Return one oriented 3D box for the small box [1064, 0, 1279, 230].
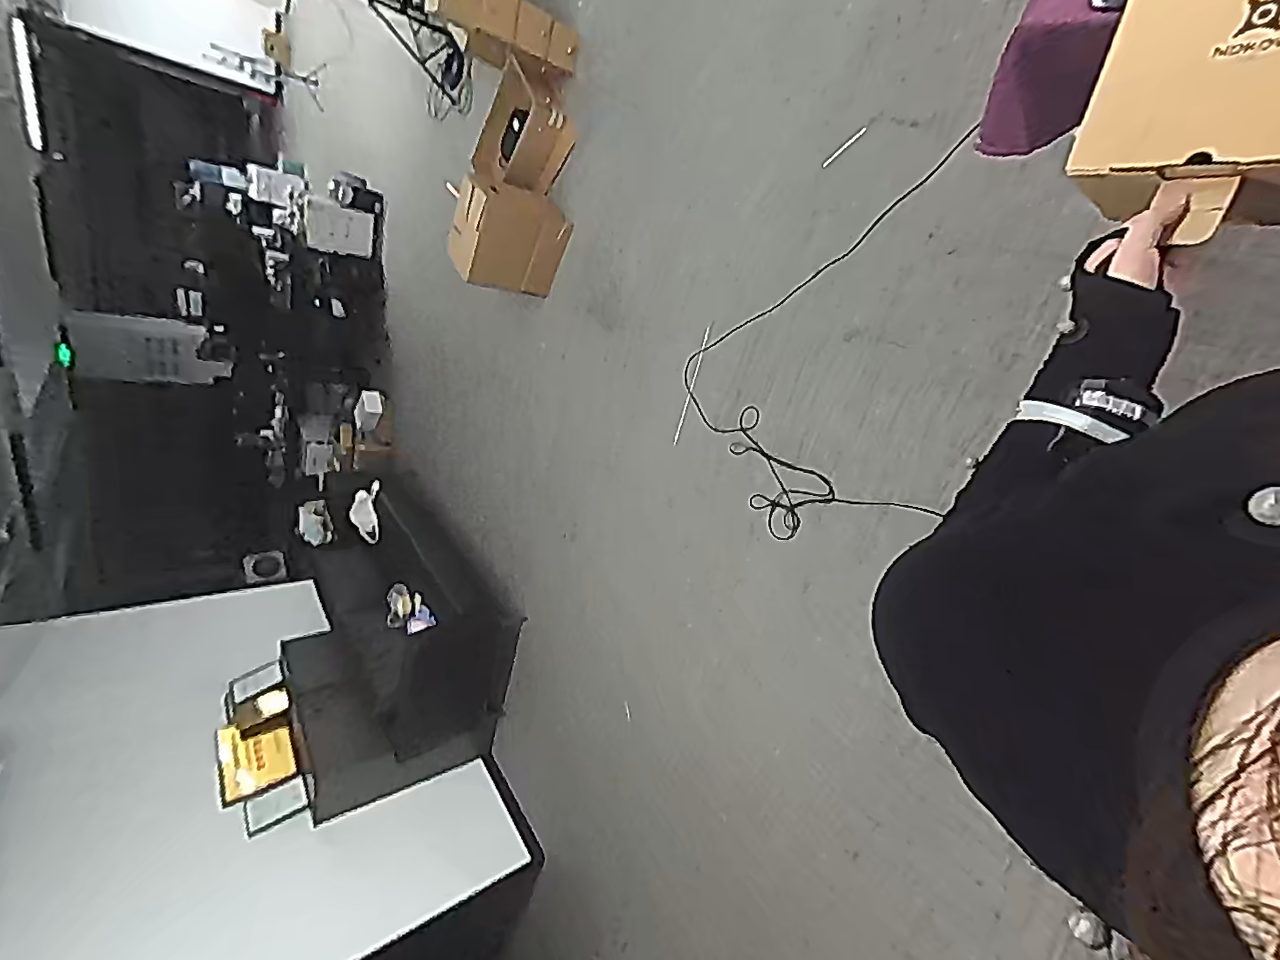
[{"bbox_3d":[0.481,-0.311,0.422,0.168,0.176,0.179,31,117,46],"label":"small box"}]
